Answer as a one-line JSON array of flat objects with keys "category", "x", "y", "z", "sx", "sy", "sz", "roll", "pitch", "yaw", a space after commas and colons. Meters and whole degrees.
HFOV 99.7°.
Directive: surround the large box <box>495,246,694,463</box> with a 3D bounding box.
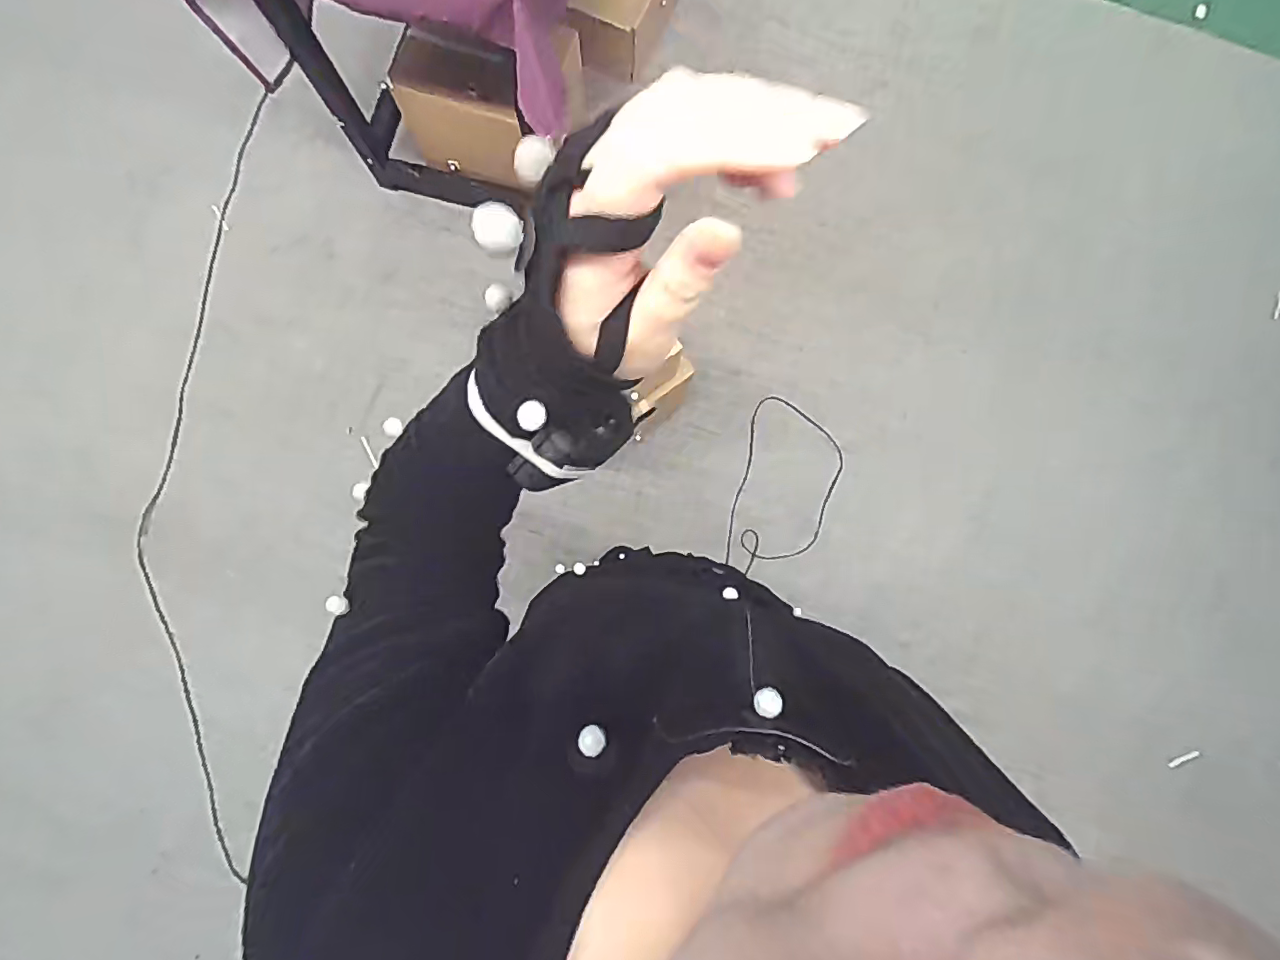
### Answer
[{"category": "large box", "x": -0.110, "y": -0.307, "z": 1.432, "sx": 0.320, "sy": 0.320, "sz": 0.408, "roll": -36, "pitch": 84, "yaw": -6}]
